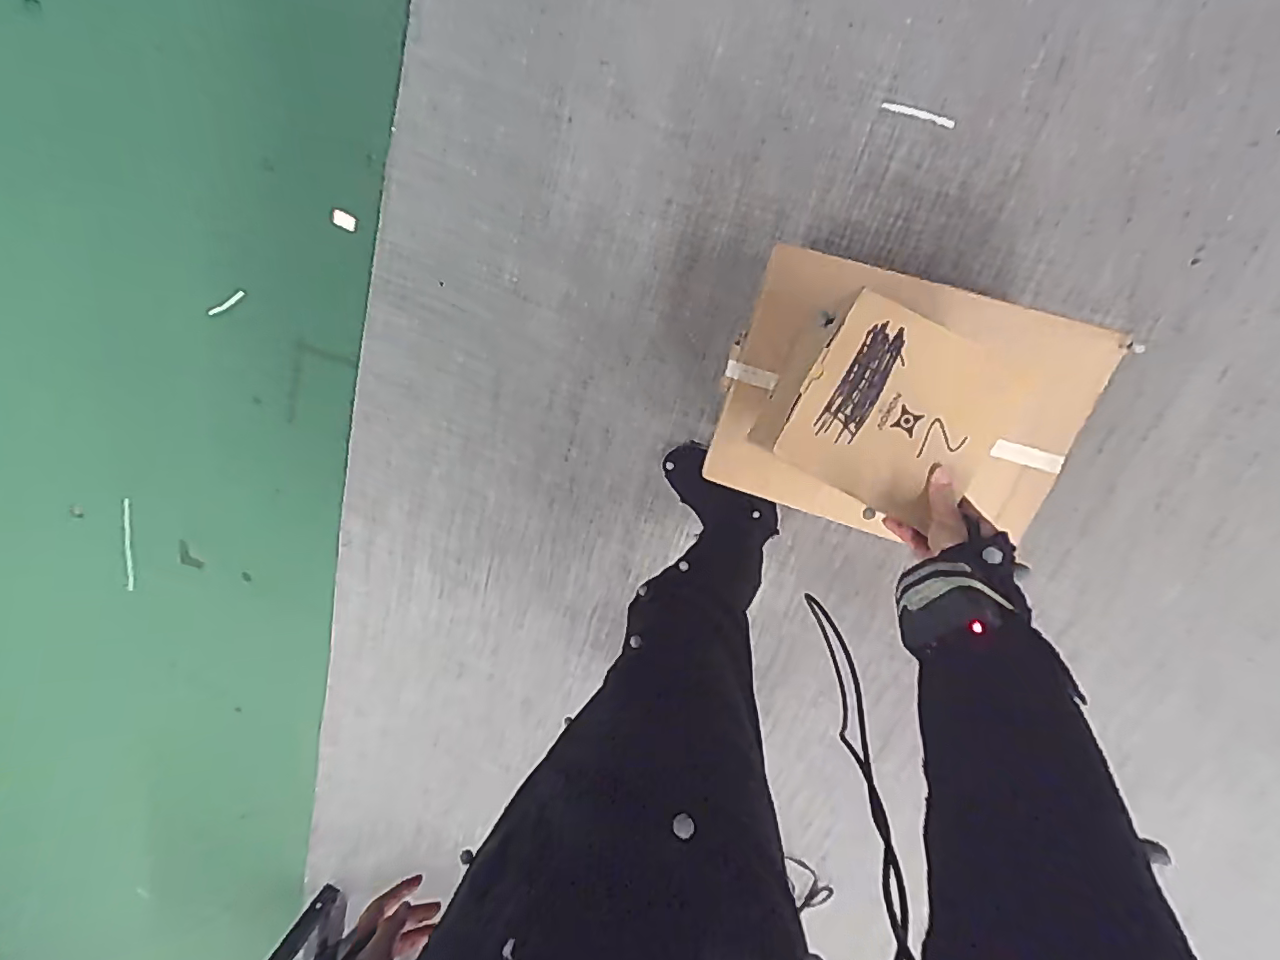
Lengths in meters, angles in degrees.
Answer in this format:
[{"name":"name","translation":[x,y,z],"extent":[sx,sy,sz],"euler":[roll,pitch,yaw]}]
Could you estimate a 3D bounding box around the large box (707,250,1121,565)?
[{"name":"large box","translation":[0.343,-0.125,0.813],"extent":[0.408,0.320,0.320],"euler":[18,111,7]}]
